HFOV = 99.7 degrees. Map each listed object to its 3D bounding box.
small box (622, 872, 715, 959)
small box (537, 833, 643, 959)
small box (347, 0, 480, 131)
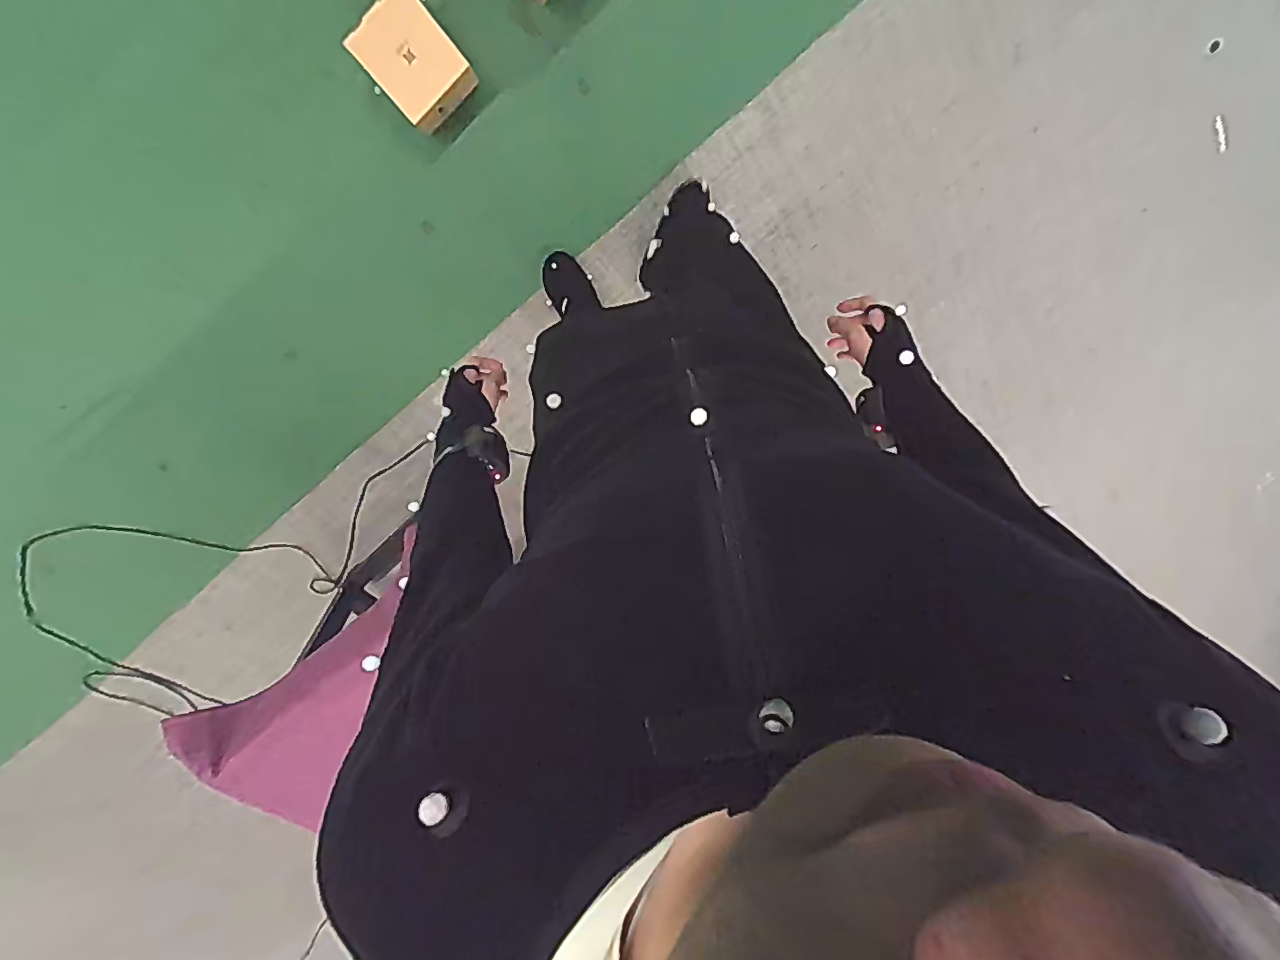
[{"bbox_3d":[0.057,1.123,1.349,0.168,0.176,0.179,-38,116,10],"label":"small box"},{"bbox_3d":[-0.117,0.966,1.246,0.179,0.176,0.168,-38,115,9],"label":"small box"},{"bbox_3d":[-0.458,-0.865,1.128,0.168,0.176,0.179,-40,114,11],"label":"small box"}]
